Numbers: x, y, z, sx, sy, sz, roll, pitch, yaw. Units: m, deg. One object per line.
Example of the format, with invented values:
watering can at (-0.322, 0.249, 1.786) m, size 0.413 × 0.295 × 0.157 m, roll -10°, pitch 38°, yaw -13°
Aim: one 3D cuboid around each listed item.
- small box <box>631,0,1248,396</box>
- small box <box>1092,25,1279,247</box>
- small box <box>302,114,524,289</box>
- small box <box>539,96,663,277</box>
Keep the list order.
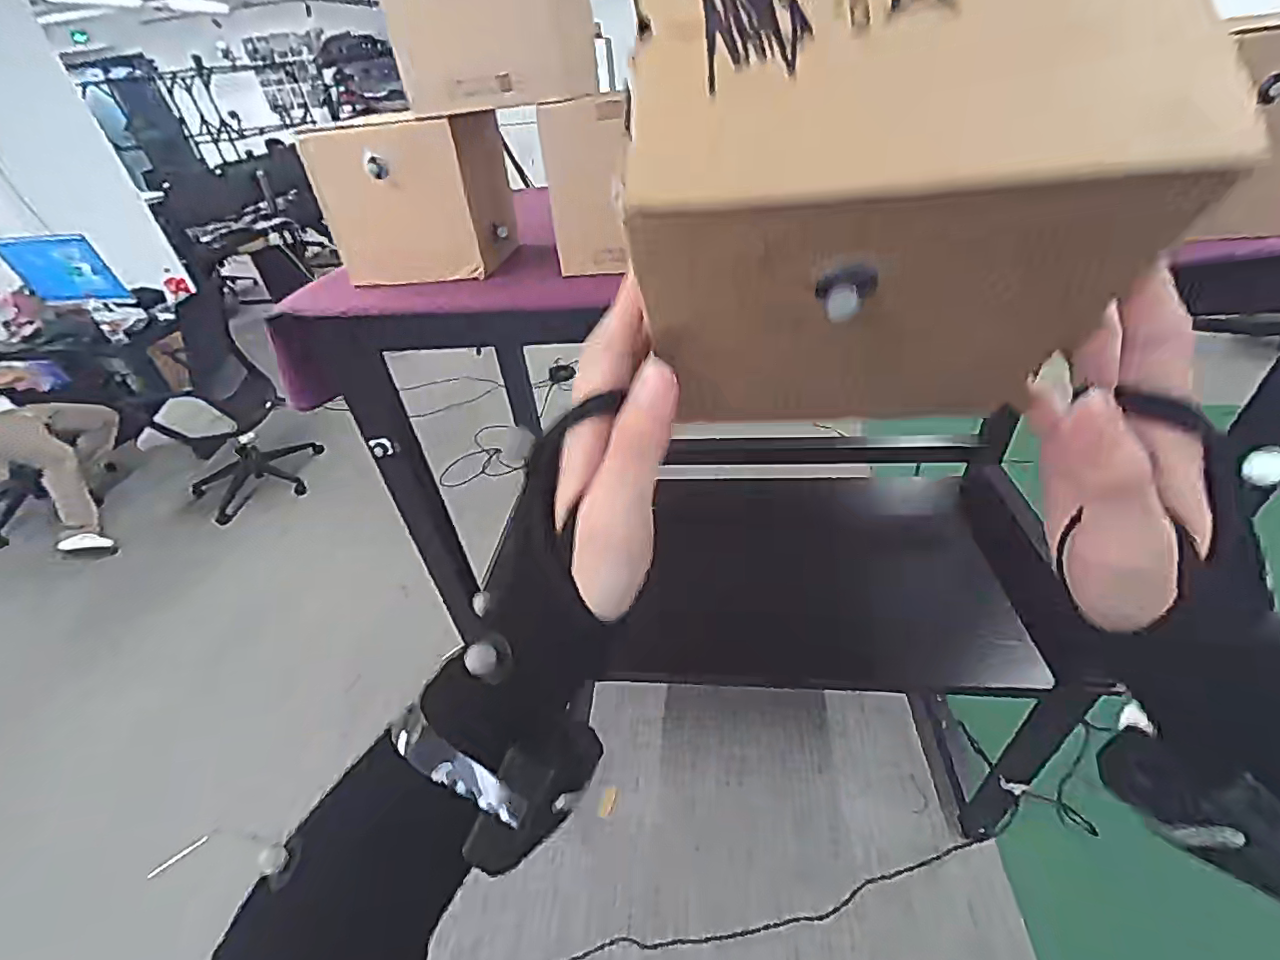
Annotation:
small box at (0.099, -0.150, 0.261) m, size 0.179 × 0.176 × 0.168 m, roll -1°, pitch 73°, yaw 9°
small box at (0.558, -0.346, 0.551) m, size 0.179 × 0.176 × 0.168 m, roll 2°, pitch 39°, yaw 12°
small box at (-0.263, -0.347, 0.676) m, size 0.179 × 0.176 × 0.168 m, roll 0°, pitch 37°, yaw 7°
small box at (-0.005, -0.347, 0.640) m, size 0.168 × 0.176 × 0.179 m, roll 0°, pitch 37°, yaw 8°
